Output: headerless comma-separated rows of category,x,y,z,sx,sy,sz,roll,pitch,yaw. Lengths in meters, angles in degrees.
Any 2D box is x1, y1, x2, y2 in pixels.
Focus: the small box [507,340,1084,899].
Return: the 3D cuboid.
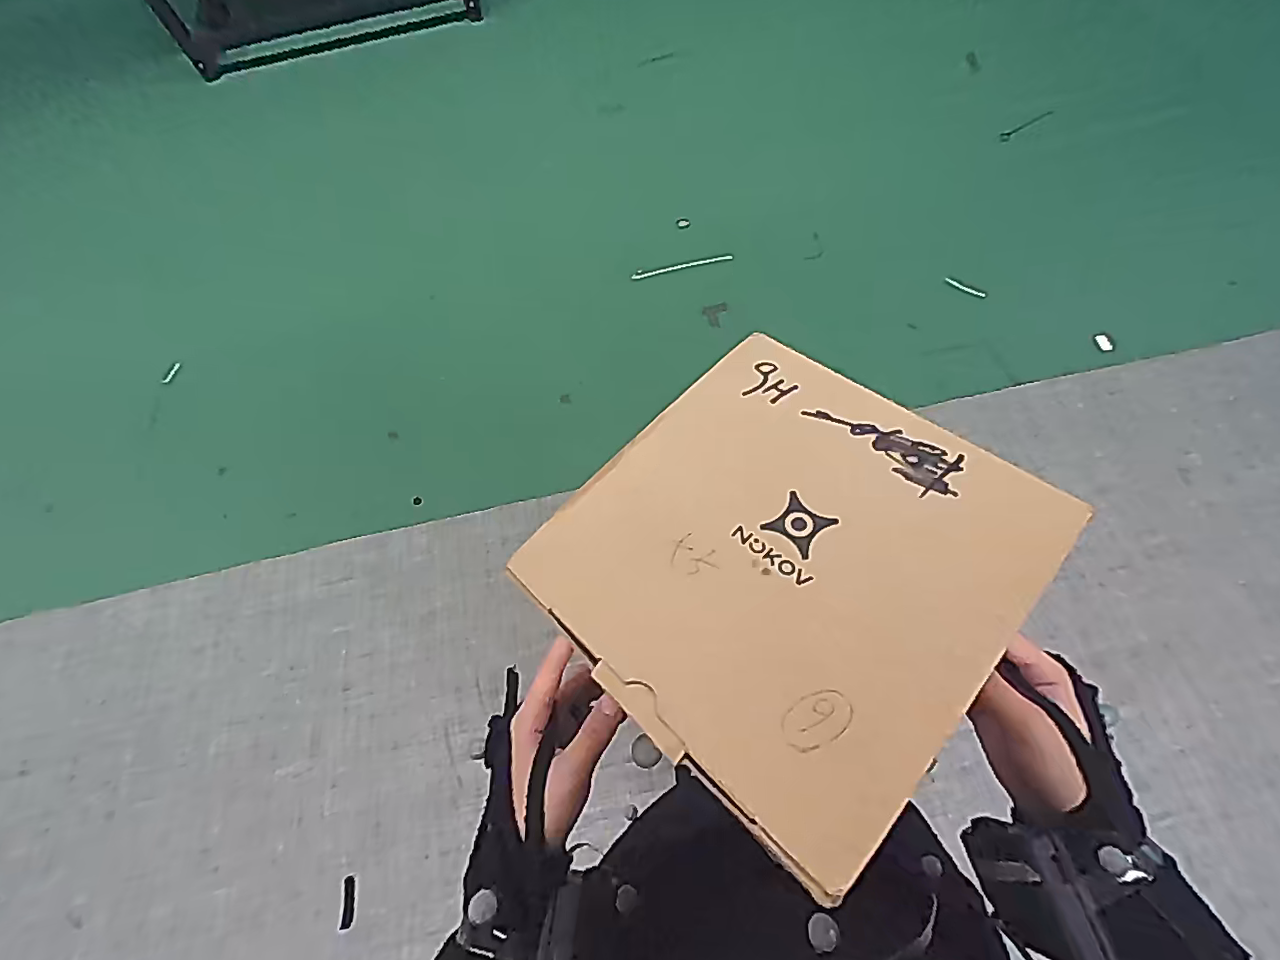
small box,0.069,0.068,0.288,0.168,0.176,0.179,38,71,27
